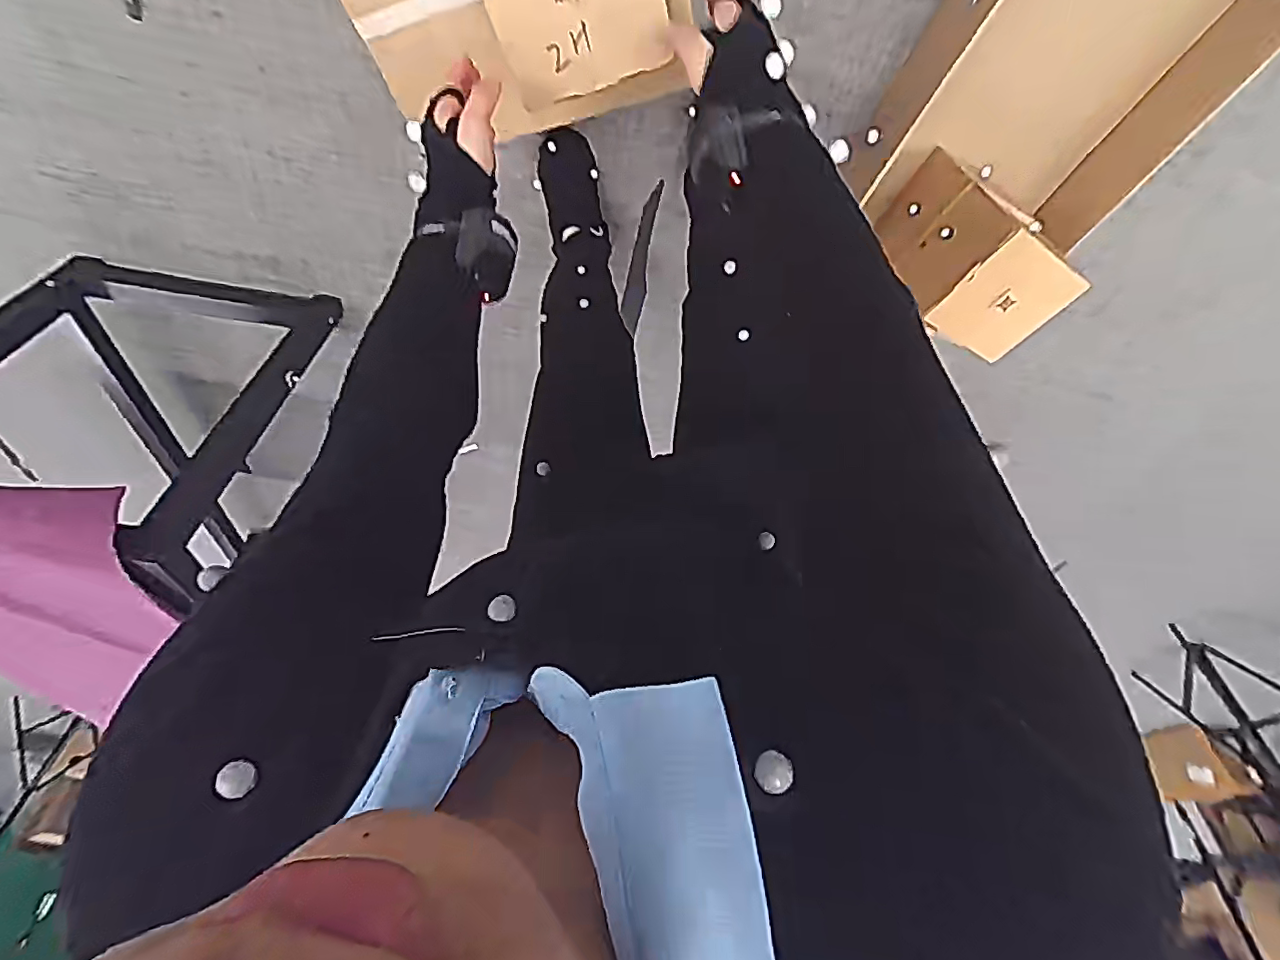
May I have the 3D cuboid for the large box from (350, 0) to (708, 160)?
[{"bbox_3d":[-0.139,-0.693,0.707,0.408,0.320,0.320,-8,138,13],"label":"large box"}]

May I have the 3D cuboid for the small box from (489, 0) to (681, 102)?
[{"bbox_3d":[-0.058,-0.516,0.530,0.168,0.176,0.179,-8,139,14],"label":"small box"}]
